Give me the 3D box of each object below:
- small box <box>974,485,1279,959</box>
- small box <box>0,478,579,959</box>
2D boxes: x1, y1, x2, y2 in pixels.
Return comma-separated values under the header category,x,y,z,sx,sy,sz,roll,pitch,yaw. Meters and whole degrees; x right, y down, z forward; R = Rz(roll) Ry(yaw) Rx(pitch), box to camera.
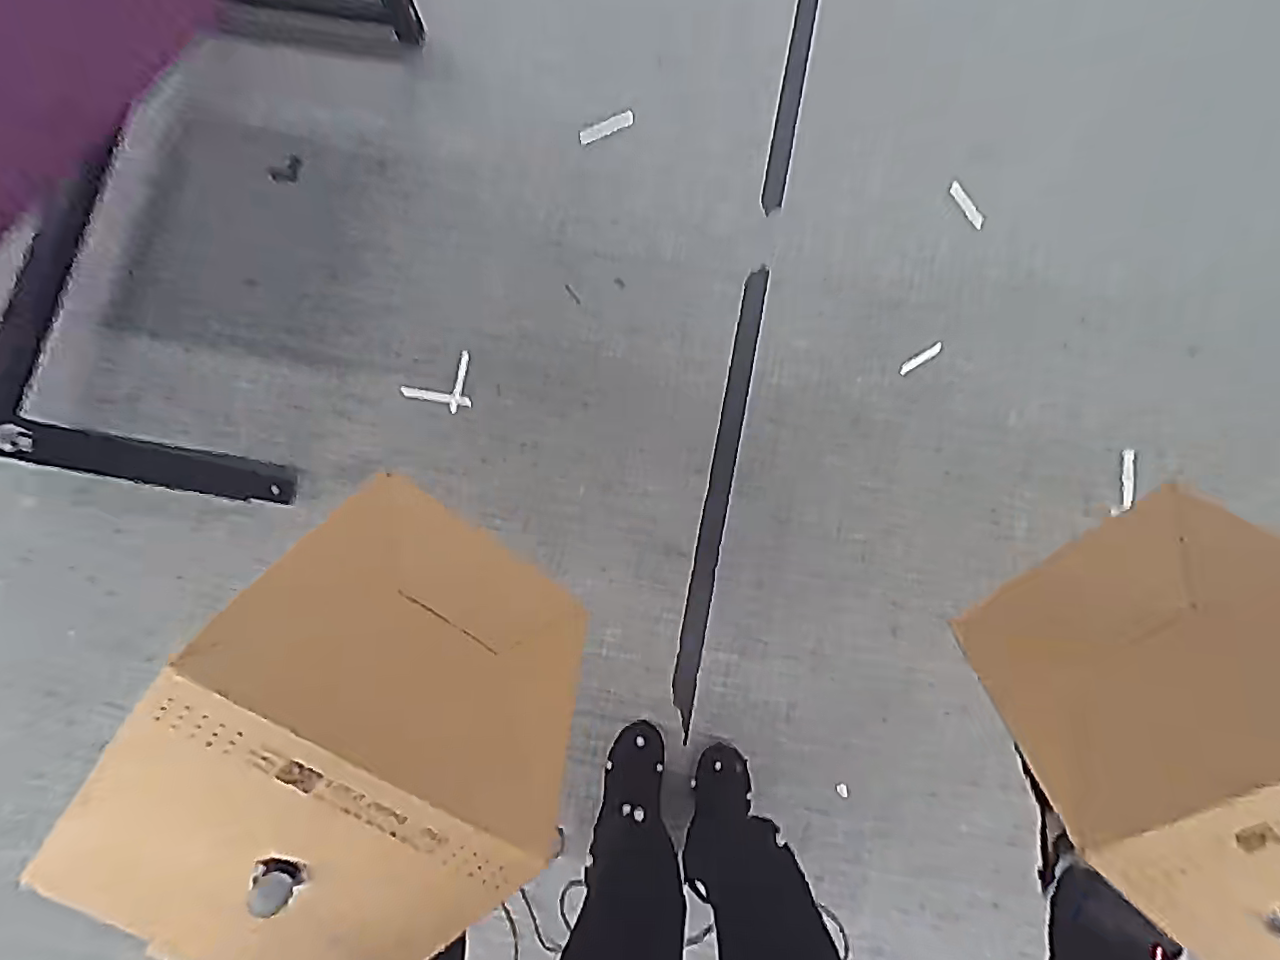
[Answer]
category,x,y,z,sx,sy,sz,roll,pitch,yaw
small box,0.325,0.135,0.288,0.176,0.179,0.168,43,113,-12
small box,-0.150,0.126,0.288,0.168,0.179,0.176,39,107,-14
